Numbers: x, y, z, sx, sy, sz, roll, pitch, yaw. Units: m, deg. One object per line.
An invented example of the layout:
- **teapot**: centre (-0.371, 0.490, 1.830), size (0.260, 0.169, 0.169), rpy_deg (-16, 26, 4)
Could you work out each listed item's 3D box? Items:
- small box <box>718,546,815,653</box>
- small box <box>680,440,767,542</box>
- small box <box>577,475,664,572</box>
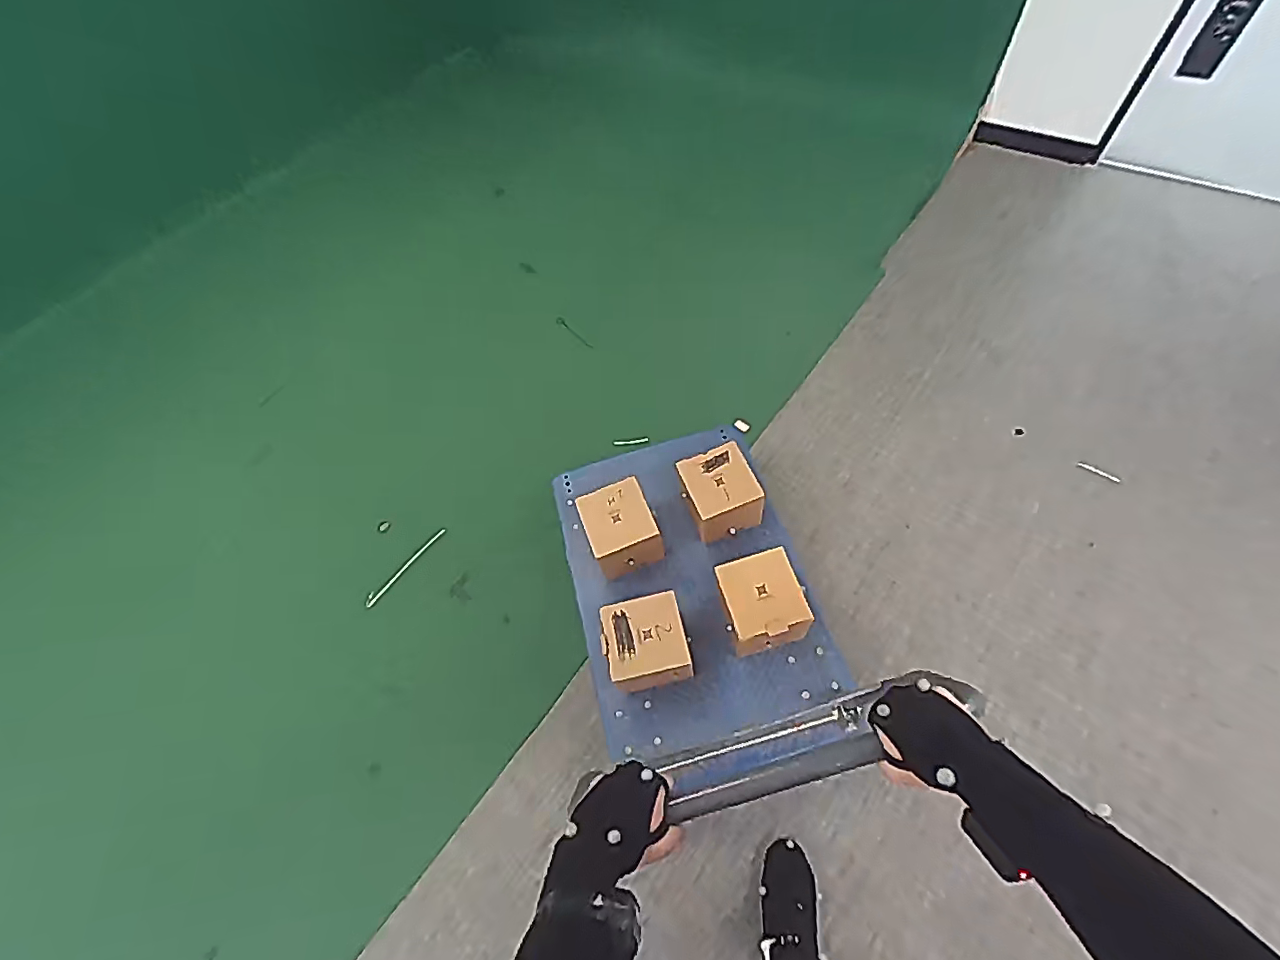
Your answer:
- **small box**: centre (0.282, 0.281, 1.252), size (0.168, 0.176, 0.179), rpy_deg (-17, 61, -1)
- **small box**: centre (0.211, 0.033, 1.398), size (0.168, 0.176, 0.179), rpy_deg (-21, 61, -4)
- **small box**: centre (-0.044, 0.121, 1.383), size (0.168, 0.176, 0.179), rpy_deg (-21, 61, -5)
